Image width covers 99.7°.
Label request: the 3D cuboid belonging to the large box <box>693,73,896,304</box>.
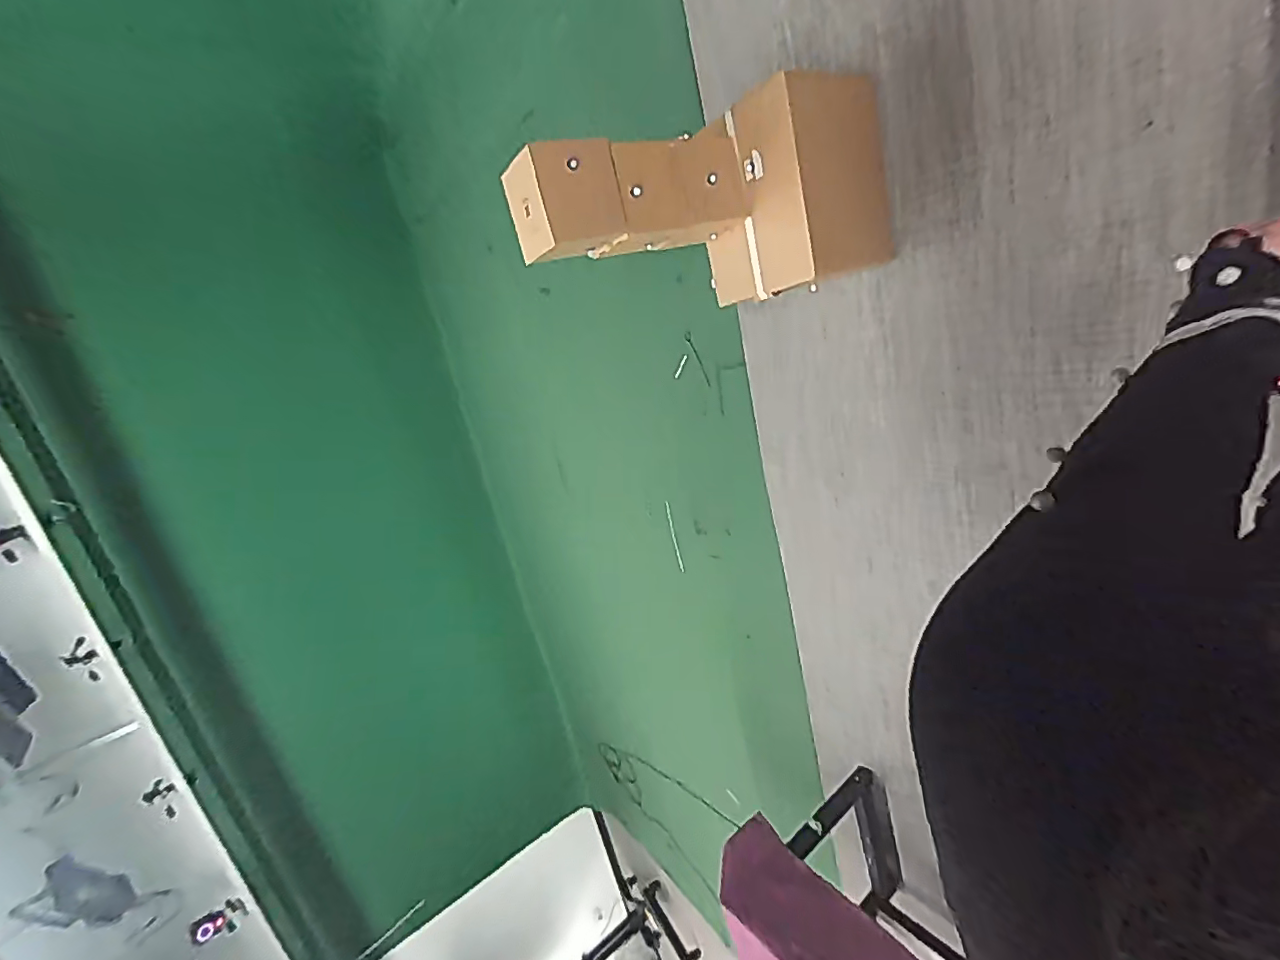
[{"bbox_3d":[0.377,-0.682,1.315,0.320,0.320,0.408,8,115,56],"label":"large box"}]

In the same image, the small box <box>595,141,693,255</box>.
[{"bbox_3d":[-0.009,-0.606,1.168,0.168,0.176,0.179,10,118,59],"label":"small box"}]

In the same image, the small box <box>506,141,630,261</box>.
[{"bbox_3d":[-0.142,-0.558,1.087,0.168,0.176,0.179,13,122,58],"label":"small box"}]
